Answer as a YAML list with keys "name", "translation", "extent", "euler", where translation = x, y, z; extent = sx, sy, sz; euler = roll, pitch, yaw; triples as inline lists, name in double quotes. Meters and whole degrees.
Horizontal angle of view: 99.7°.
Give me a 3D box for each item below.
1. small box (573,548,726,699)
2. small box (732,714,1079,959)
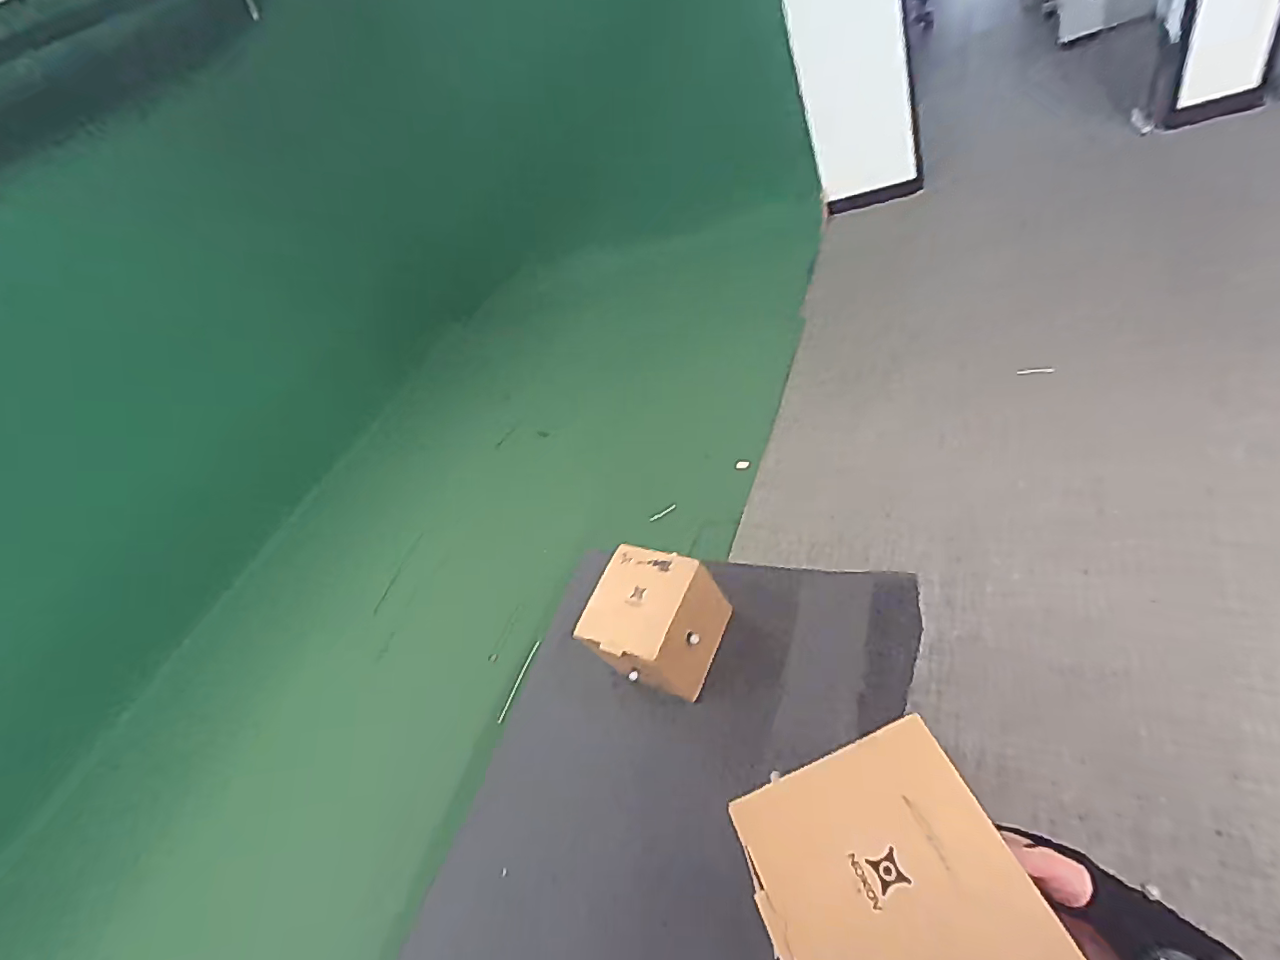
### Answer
- name: "small box"
  translation: [0.026, 0.242, 0.915]
  extent: [0.168, 0.176, 0.179]
  euler: [7, 57, 37]
- name: "small box"
  translation: [0.201, 0.328, 0.456]
  extent: [0.179, 0.176, 0.168]
  euler: [-27, 53, 0]
